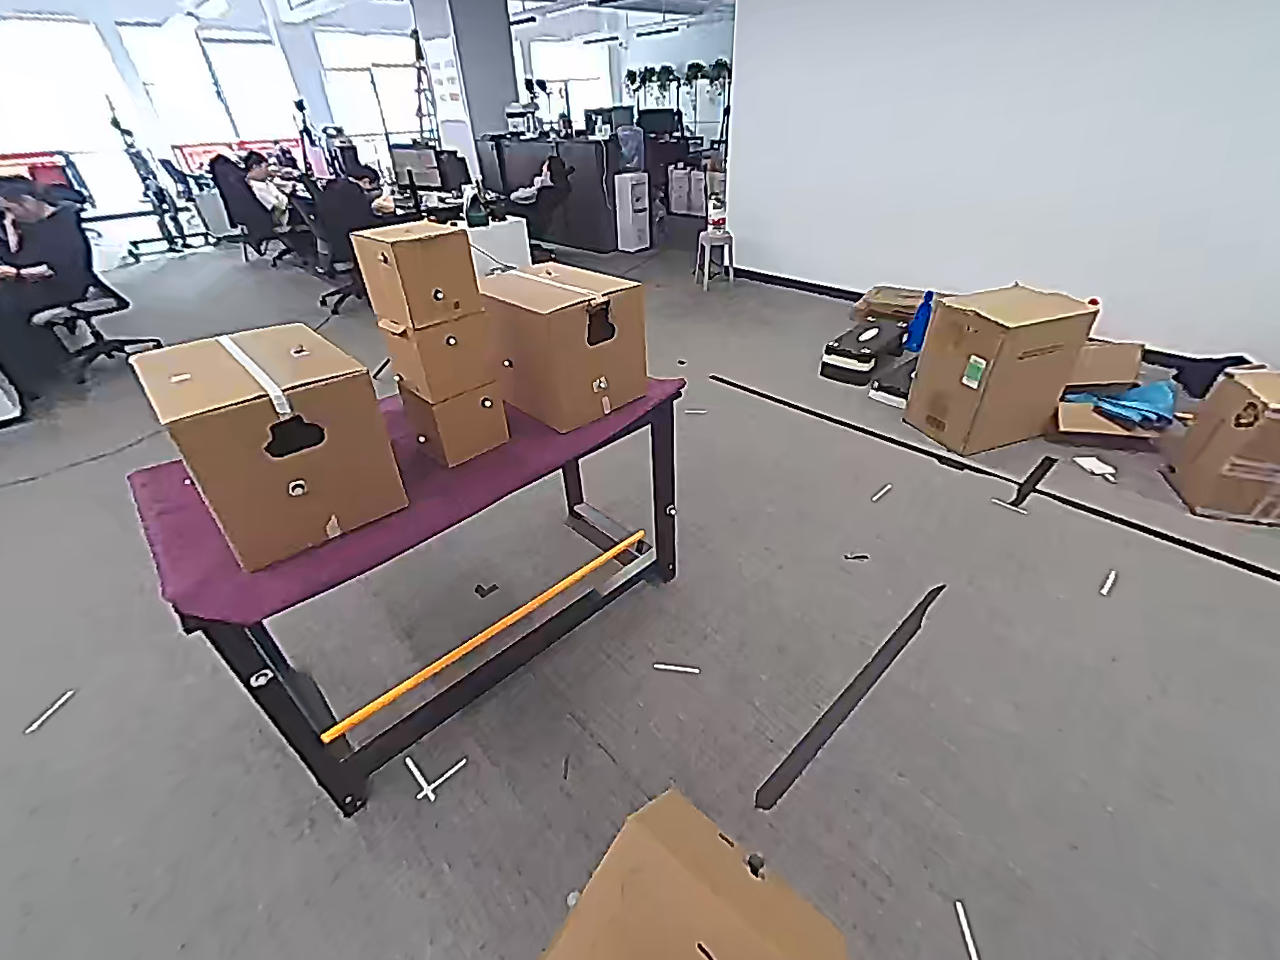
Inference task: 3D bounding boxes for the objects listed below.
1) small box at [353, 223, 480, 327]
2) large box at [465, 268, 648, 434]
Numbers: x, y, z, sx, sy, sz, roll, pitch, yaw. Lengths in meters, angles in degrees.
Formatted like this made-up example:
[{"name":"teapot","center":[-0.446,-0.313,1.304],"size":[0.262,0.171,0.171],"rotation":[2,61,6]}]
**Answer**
[{"name":"small box","center":[-0.462,-0.431,1.131],"size":[0.179,0.176,0.168],"rotation":[26,43,34]},{"name":"large box","center":[-0.227,-0.368,1.485],"size":[0.320,0.320,0.408],"rotation":[-30,42,-34]}]
